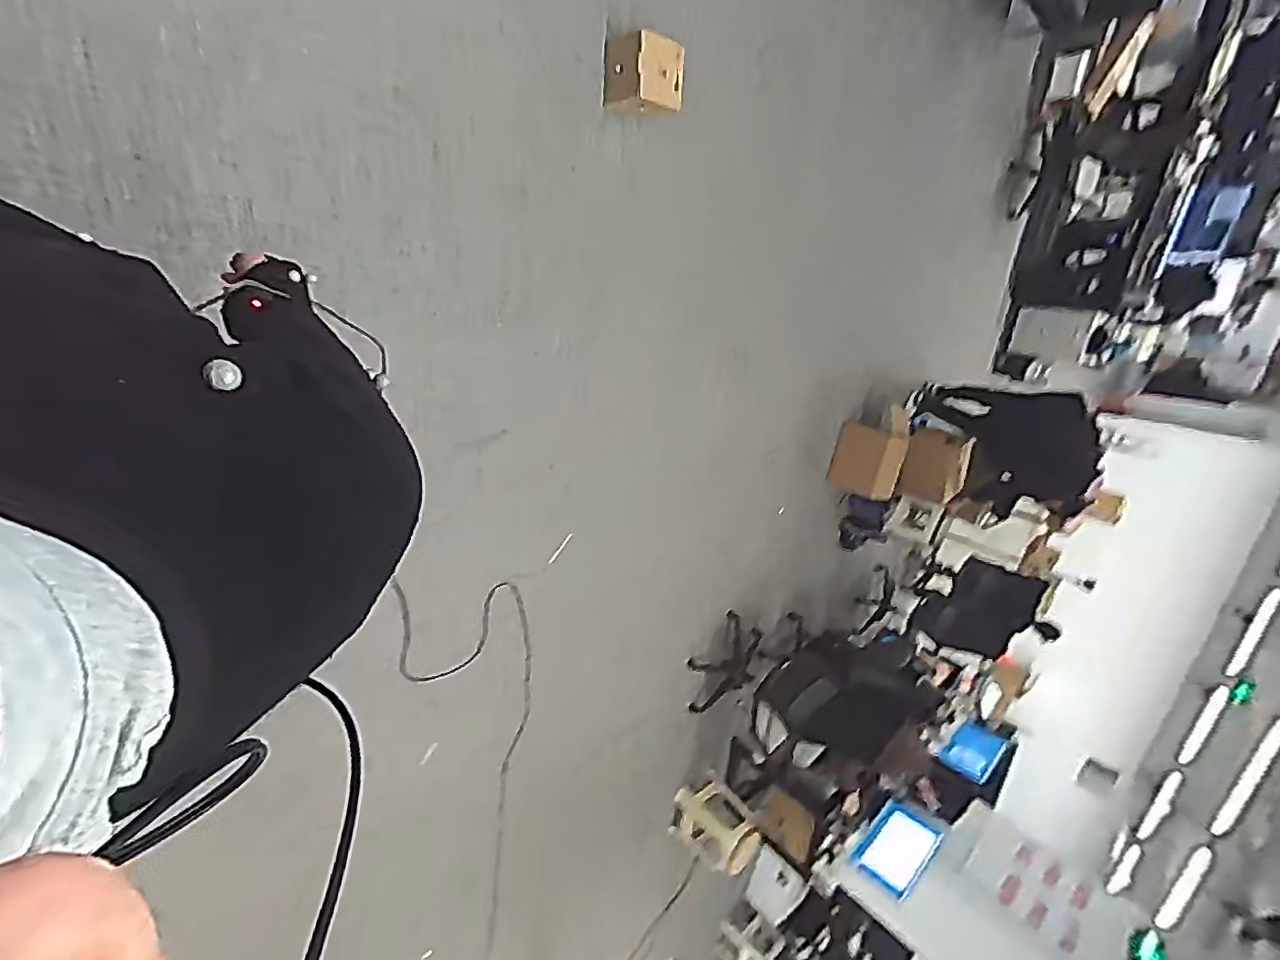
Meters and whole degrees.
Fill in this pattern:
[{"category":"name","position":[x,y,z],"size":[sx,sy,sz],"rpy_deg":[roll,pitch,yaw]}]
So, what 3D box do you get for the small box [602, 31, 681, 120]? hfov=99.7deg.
[{"category":"small box","position":[0.001,-1.216,1.643],"size":[0.179,0.176,0.168],"rpy_deg":[-14,117,-40]}]
